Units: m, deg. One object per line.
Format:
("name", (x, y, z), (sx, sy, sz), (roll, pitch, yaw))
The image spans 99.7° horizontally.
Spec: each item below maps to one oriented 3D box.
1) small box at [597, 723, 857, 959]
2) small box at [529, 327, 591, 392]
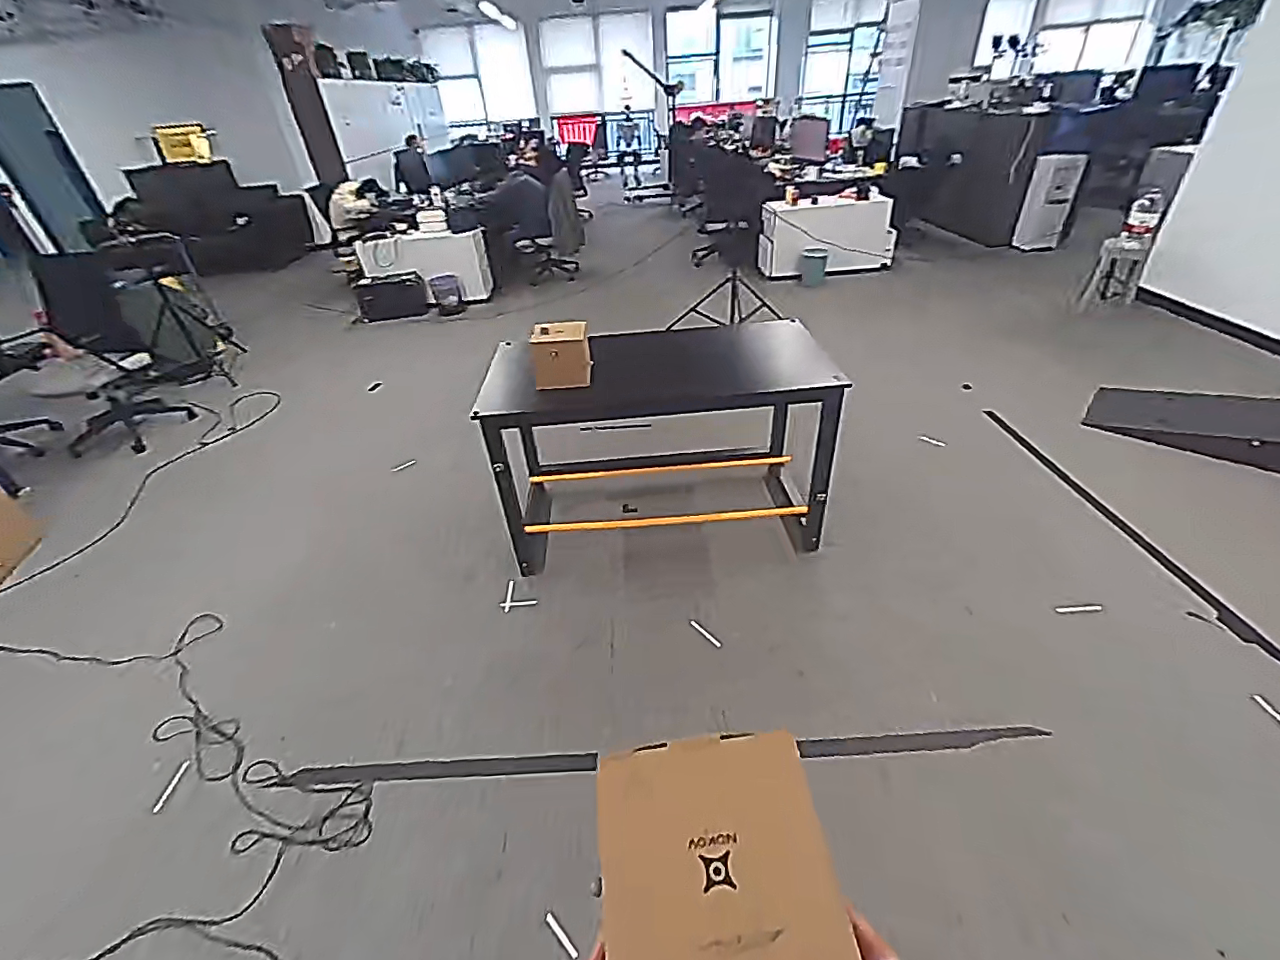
("small box", (0.057, 0.330, 0.444), (0.168, 0.176, 0.179), (-7, 43, -2))
("small box", (-0.266, -0.409, 1.843), (0.179, 0.176, 0.168), (-3, 36, 0))
